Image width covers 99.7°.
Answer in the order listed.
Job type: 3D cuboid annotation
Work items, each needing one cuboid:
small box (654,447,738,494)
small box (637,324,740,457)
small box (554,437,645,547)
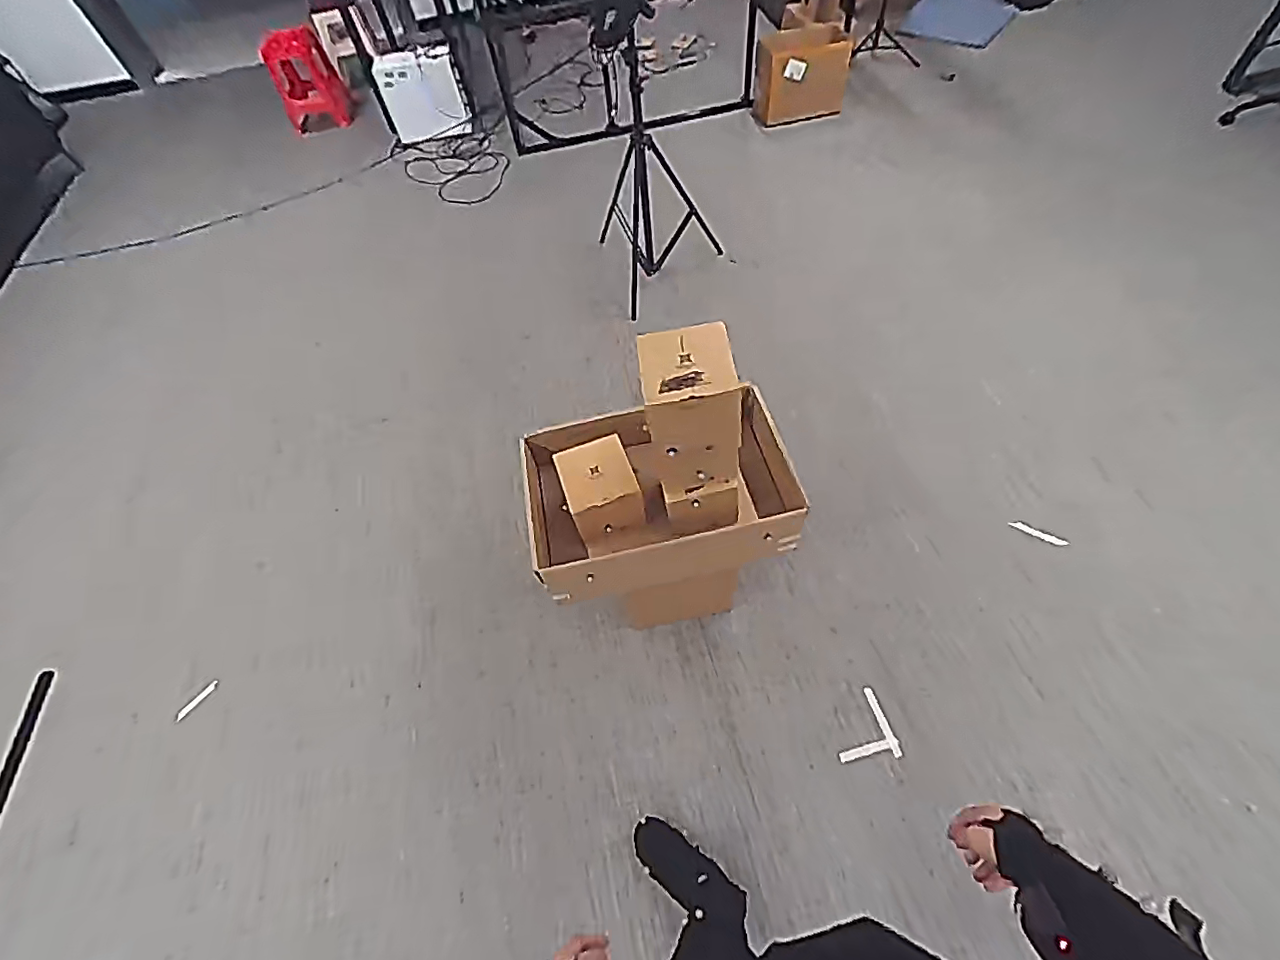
[{"bbox_3d":[0.110,-0.096,1.167,0.168,0.176,0.179,-13,57,2],"label":"small box"},{"bbox_3d":[0.093,-0.157,1.011,0.168,0.176,0.179,-9,56,5],"label":"small box"},{"bbox_3d":[-0.094,0.032,1.305,0.168,0.176,0.179,-19,58,-7],"label":"small box"}]
